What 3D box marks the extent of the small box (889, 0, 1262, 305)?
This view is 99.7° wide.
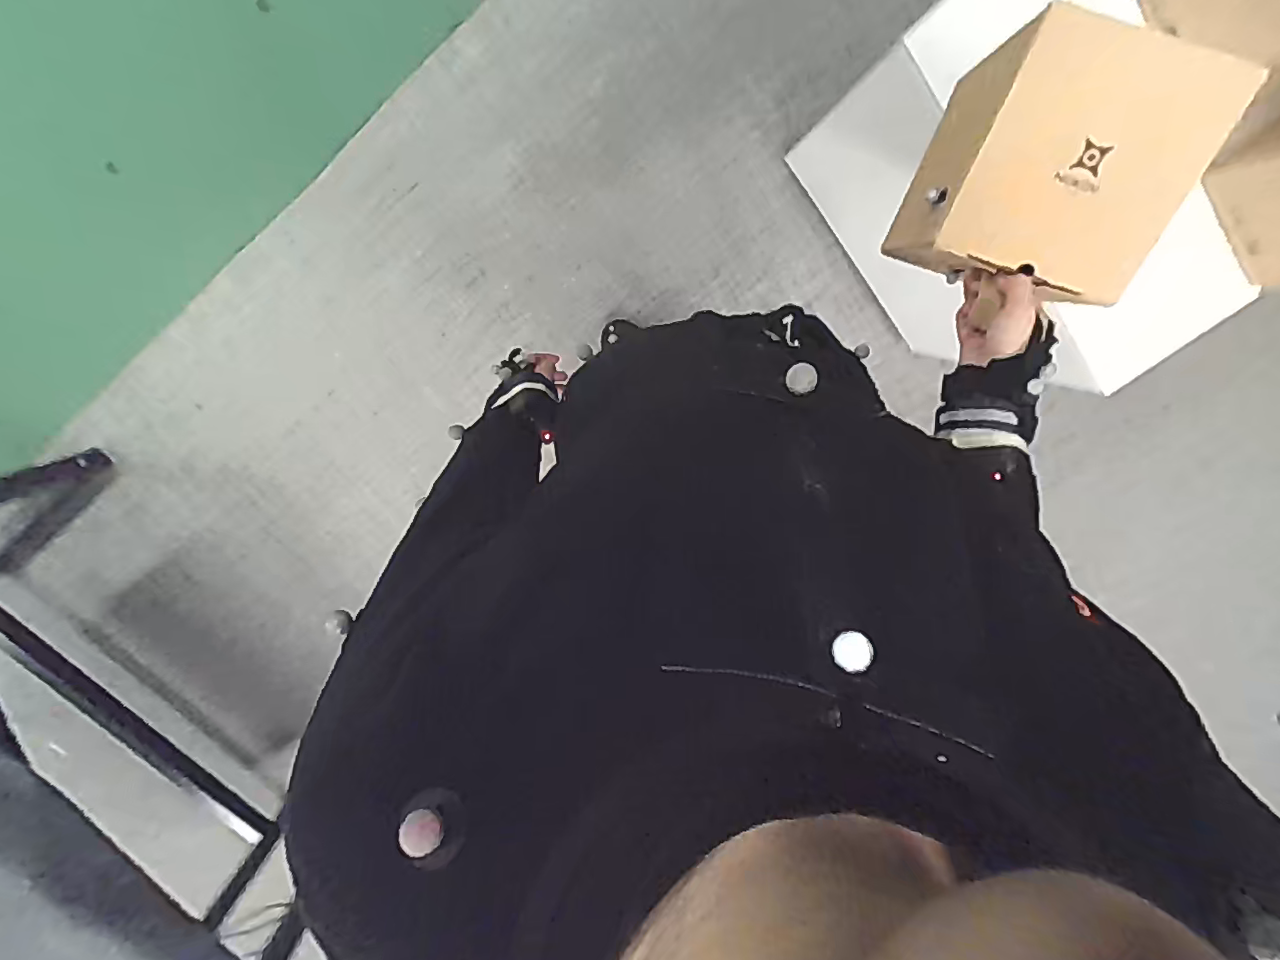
[{"bbox_3d":[0.358,-0.277,0.495,0.168,0.176,0.179,19,113,1],"label":"small box"}]
